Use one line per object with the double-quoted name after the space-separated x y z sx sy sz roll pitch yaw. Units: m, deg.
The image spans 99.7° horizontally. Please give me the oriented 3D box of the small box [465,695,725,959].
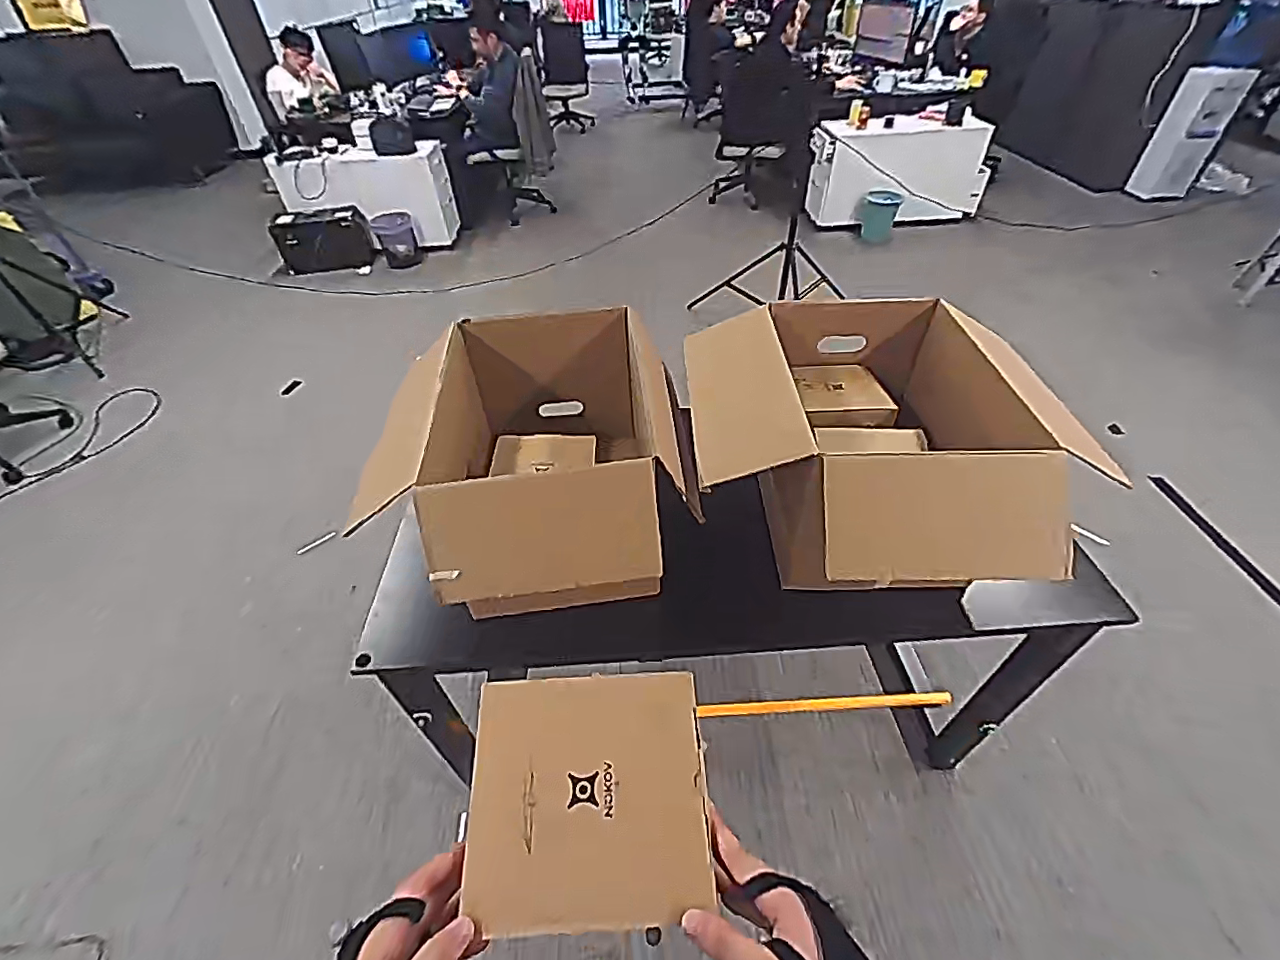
-0.034 0.296 0.468 0.179 0.176 0.168 -4 54 -2 "small box"
